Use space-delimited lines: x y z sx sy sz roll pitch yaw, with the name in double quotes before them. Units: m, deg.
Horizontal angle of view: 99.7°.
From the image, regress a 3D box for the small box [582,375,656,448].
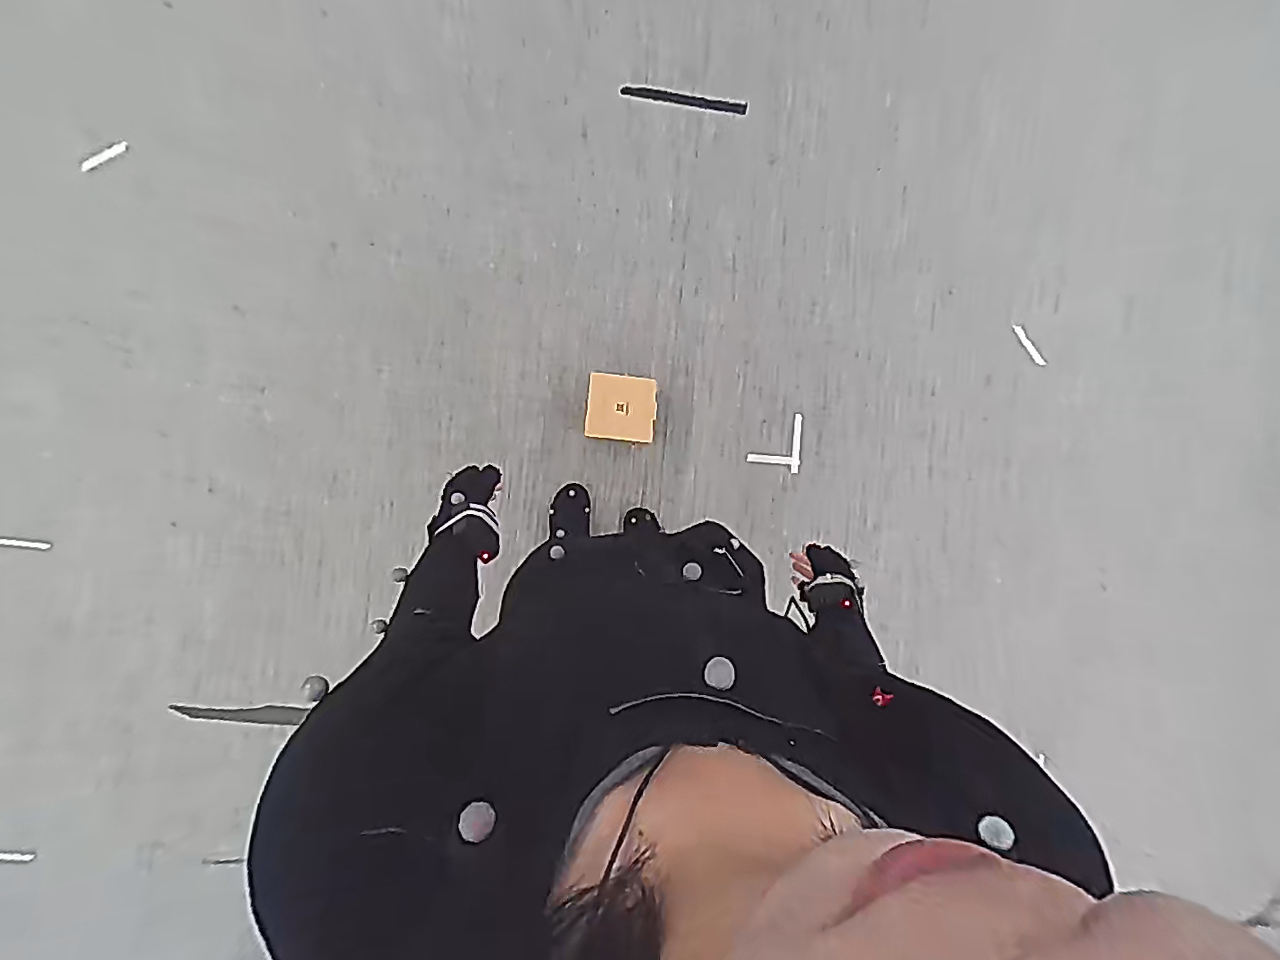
"small box" -0.060 -0.177 1.452 0.179 0.176 0.168 5 89 -5
